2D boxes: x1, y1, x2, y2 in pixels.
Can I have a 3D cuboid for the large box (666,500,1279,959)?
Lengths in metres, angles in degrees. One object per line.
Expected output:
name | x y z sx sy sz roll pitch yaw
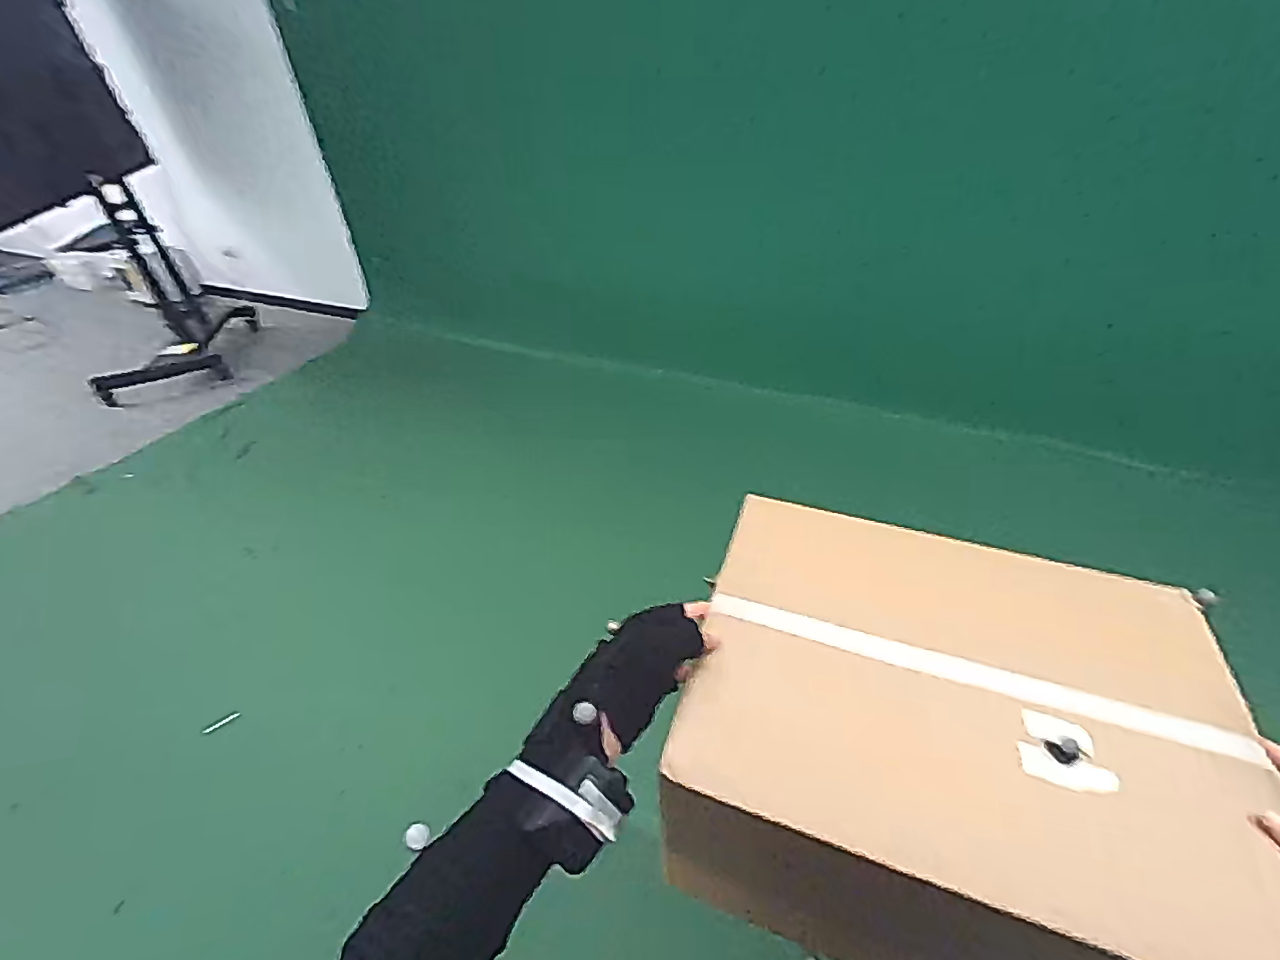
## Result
large box | 0.258 0.266 0.552 0.408 0.320 0.320 12 45 16
